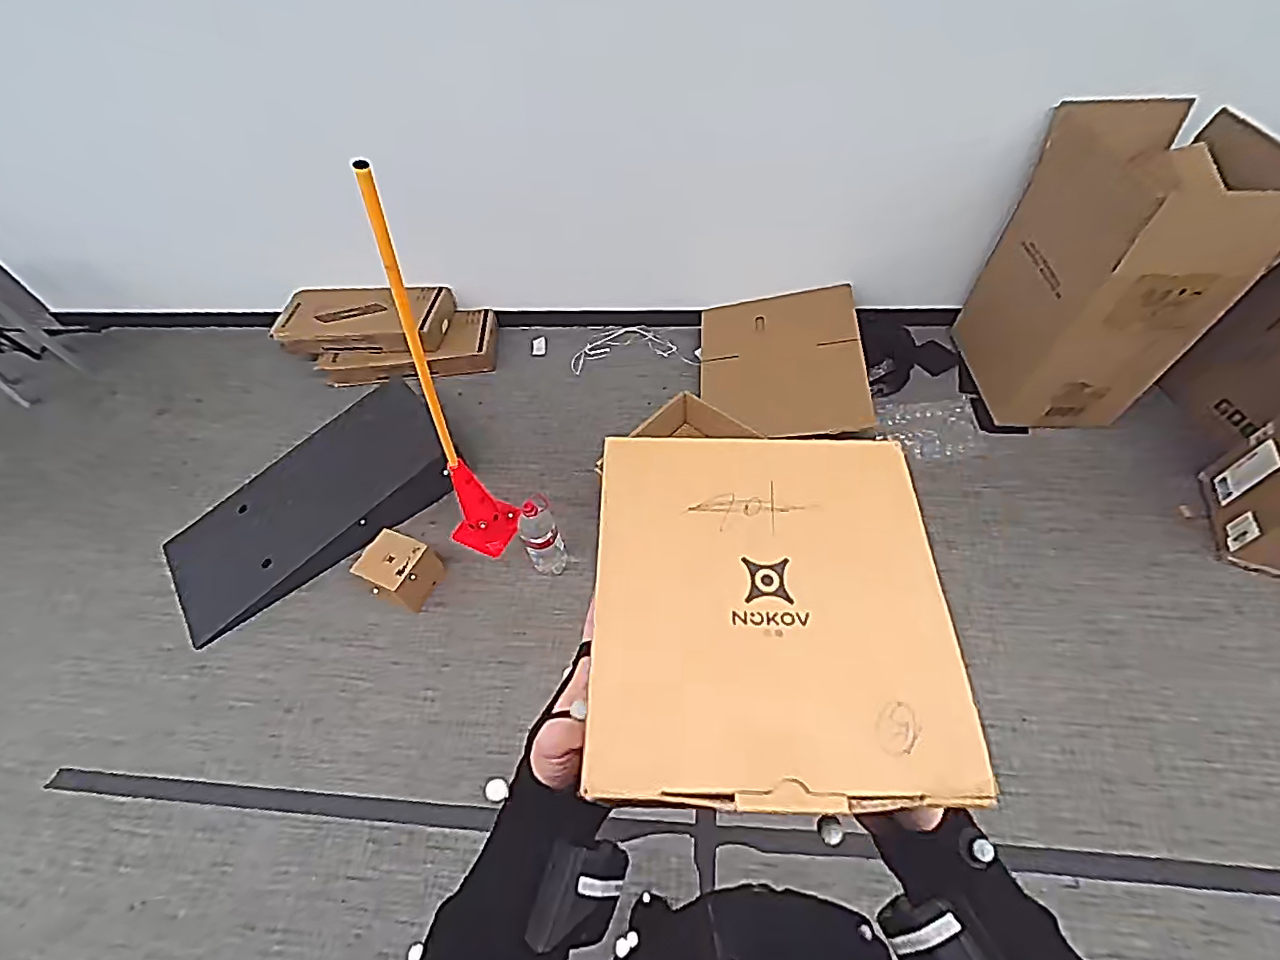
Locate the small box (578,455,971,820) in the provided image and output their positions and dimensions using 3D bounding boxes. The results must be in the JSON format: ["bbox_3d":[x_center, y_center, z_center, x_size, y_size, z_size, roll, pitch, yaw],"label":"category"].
[{"bbox_3d":[0.057,0.104,0.333,0.168,0.176,0.179,2,57,0],"label":"small box"}]
